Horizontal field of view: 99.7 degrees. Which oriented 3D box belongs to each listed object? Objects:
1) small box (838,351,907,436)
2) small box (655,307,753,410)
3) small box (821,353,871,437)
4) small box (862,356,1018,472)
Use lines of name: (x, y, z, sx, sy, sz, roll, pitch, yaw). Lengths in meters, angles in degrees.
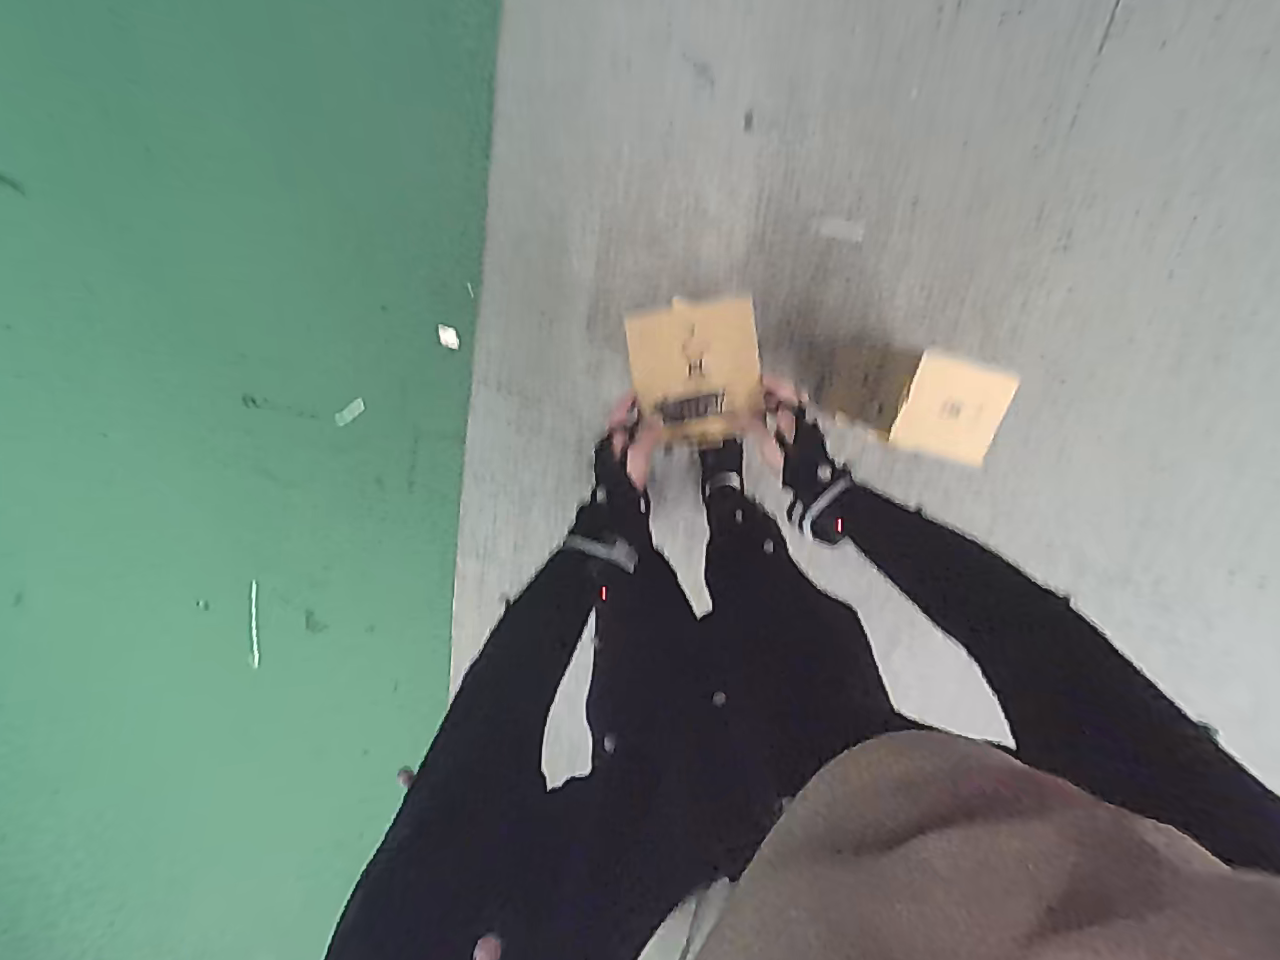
small box: (0.555, -0.177, 1.181, 0.168, 0.176, 0.179, 17, 106, 1)
small box: (0.133, -0.269, 1.189, 0.168, 0.176, 0.179, 15, 106, 0)
small box: (0.565, -0.210, 1.341, 0.168, 0.176, 0.179, 13, 106, 0)
small box: (0.550, -0.132, 1.024, 0.179, 0.176, 0.168, 17, 106, 0)
